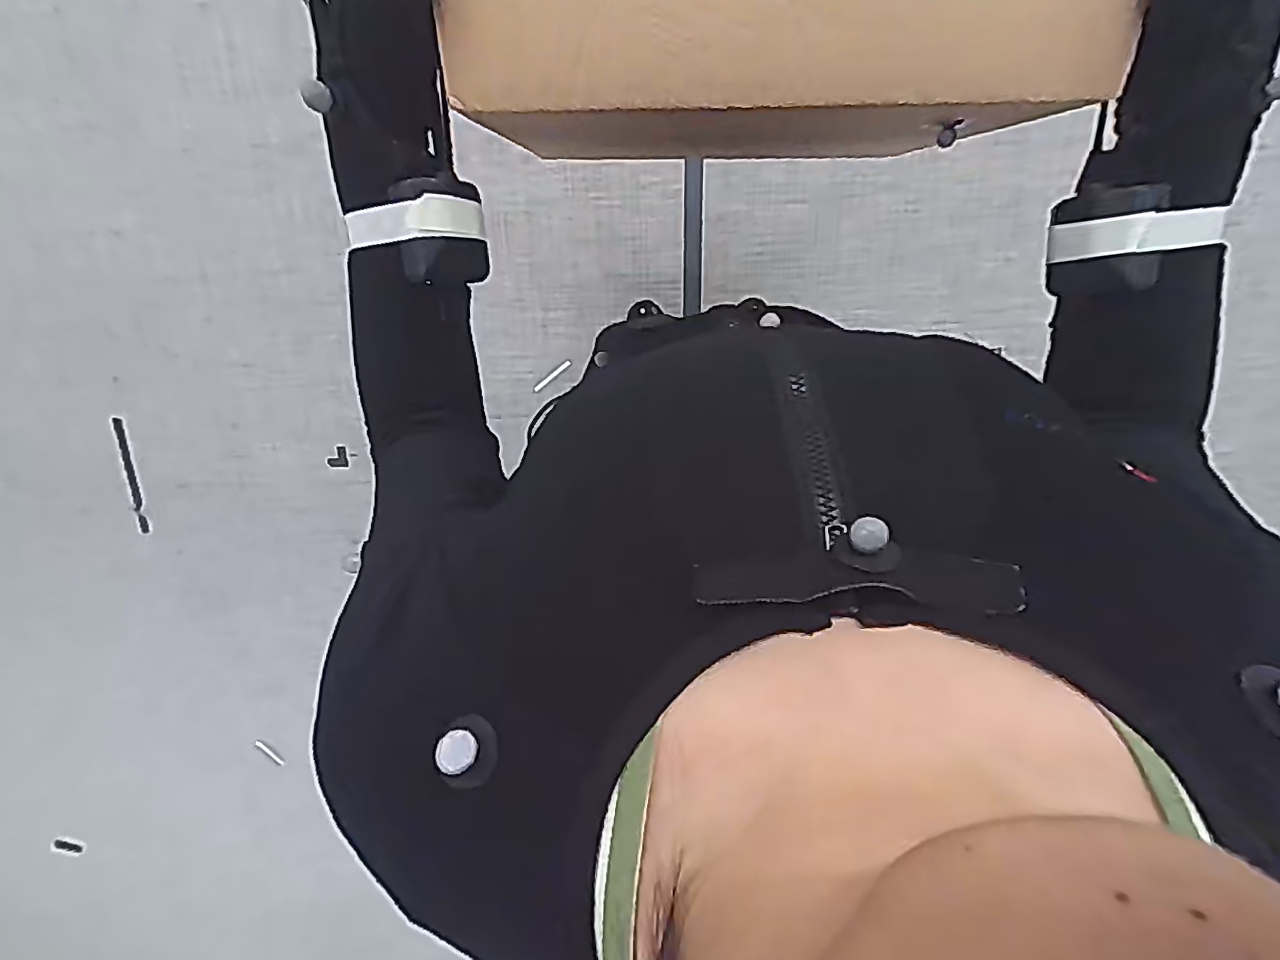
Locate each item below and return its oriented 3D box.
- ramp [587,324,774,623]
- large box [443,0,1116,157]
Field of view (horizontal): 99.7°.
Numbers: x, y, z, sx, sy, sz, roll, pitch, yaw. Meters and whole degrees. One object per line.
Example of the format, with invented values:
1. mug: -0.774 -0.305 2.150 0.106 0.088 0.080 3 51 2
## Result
1. ramp: 0.119 0.042 1.624 0.509 0.206 0.991 -2 107 2
2. large box: 0.082 -0.434 0.406 0.408 0.320 0.320 -1 116 0
